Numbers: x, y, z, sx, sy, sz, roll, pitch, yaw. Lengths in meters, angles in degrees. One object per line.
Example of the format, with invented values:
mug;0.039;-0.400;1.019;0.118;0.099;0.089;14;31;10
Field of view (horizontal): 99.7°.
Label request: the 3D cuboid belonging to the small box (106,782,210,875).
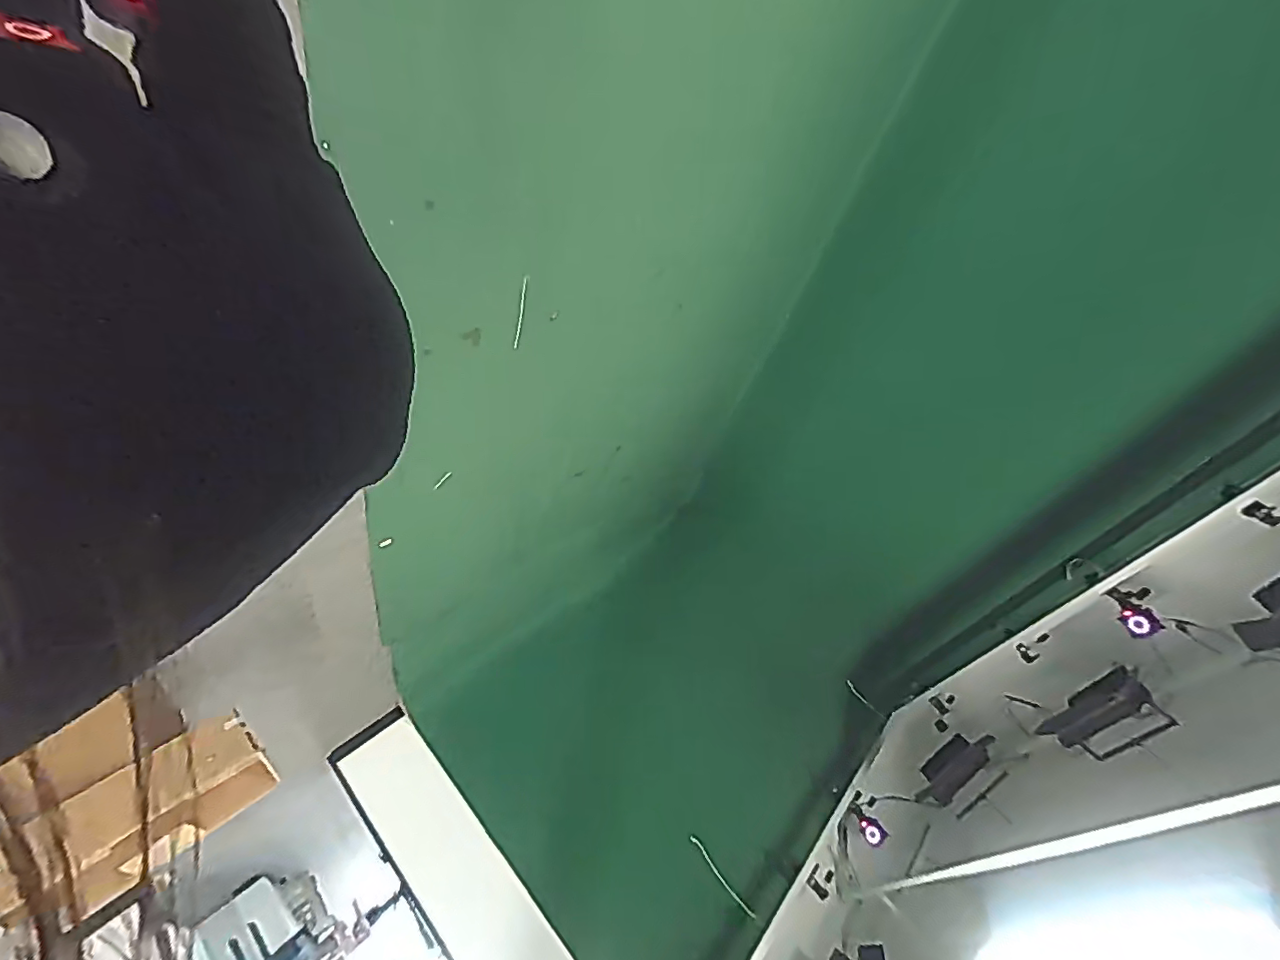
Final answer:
small box;-1.475;1.066;1.659;0.168;0.176;0.179;-34;155;-35
